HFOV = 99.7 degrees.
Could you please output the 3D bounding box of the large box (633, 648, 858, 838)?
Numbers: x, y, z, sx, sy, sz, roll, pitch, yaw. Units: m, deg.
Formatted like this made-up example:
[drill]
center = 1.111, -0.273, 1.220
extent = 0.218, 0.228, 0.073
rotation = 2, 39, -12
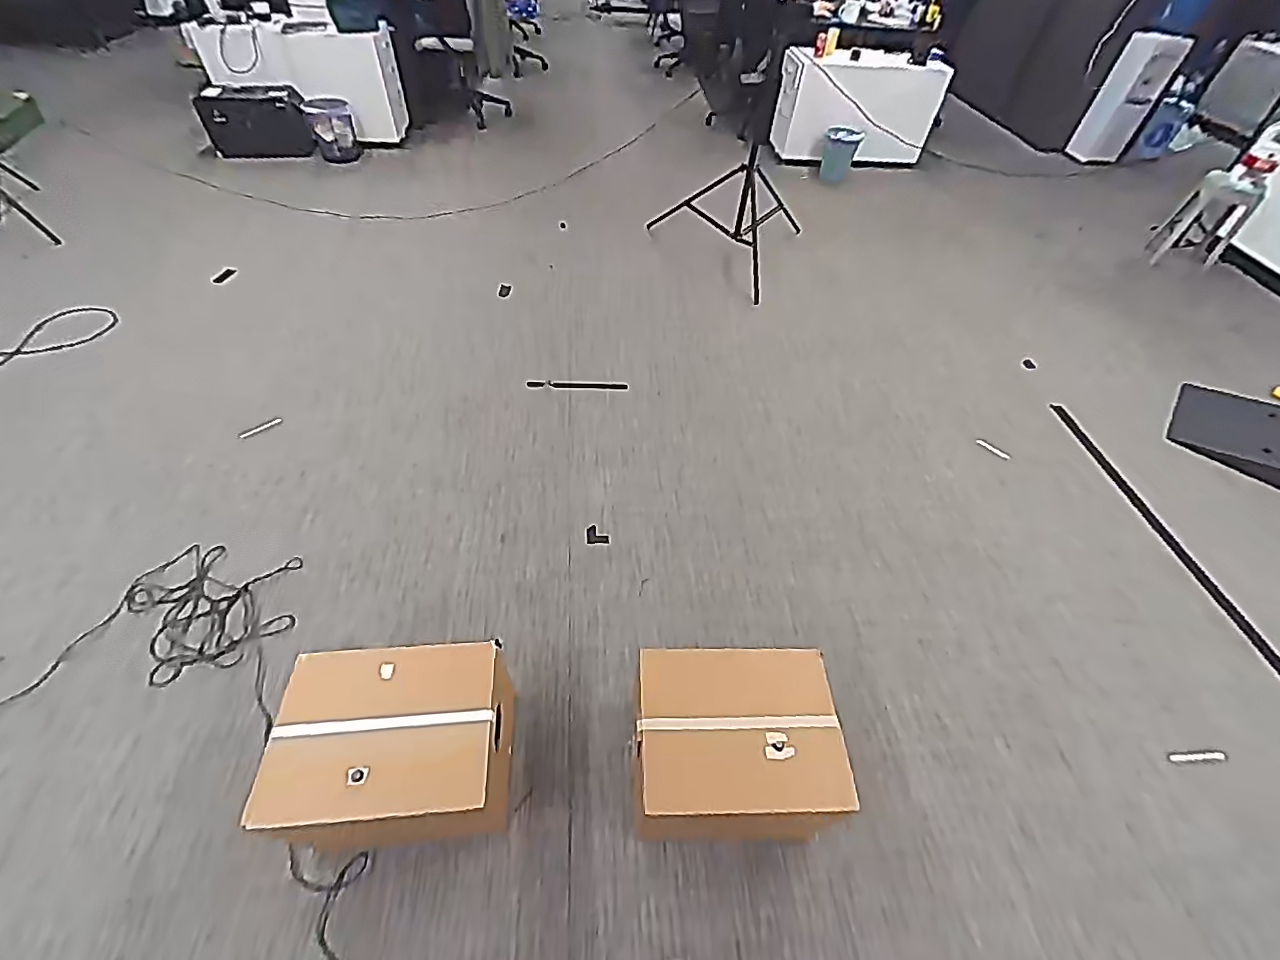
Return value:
[large box]
center = 0.196, 0.587, 1.205
extent = 0.408, 0.320, 0.320
rotation = 2, 50, -4
